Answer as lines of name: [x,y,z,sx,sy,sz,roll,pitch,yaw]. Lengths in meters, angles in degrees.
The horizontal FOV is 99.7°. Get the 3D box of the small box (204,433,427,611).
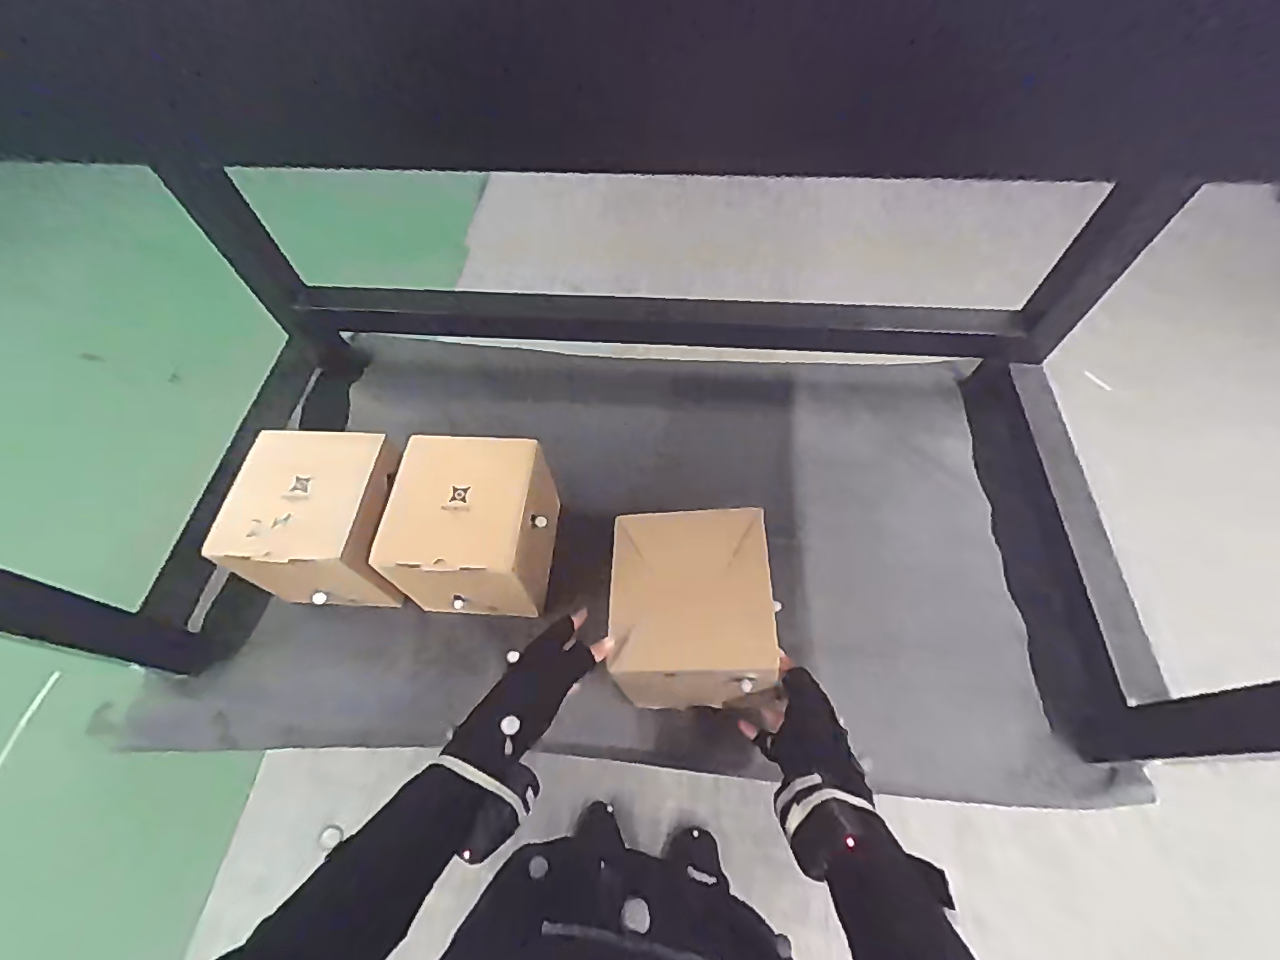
small box: [-0.402,0.058,0.712,0.168,0.176,0.179,1,59,4]

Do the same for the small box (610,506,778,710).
small box: [0.064,0.151,0.618,0.168,0.176,0.179,-4,55,8]
